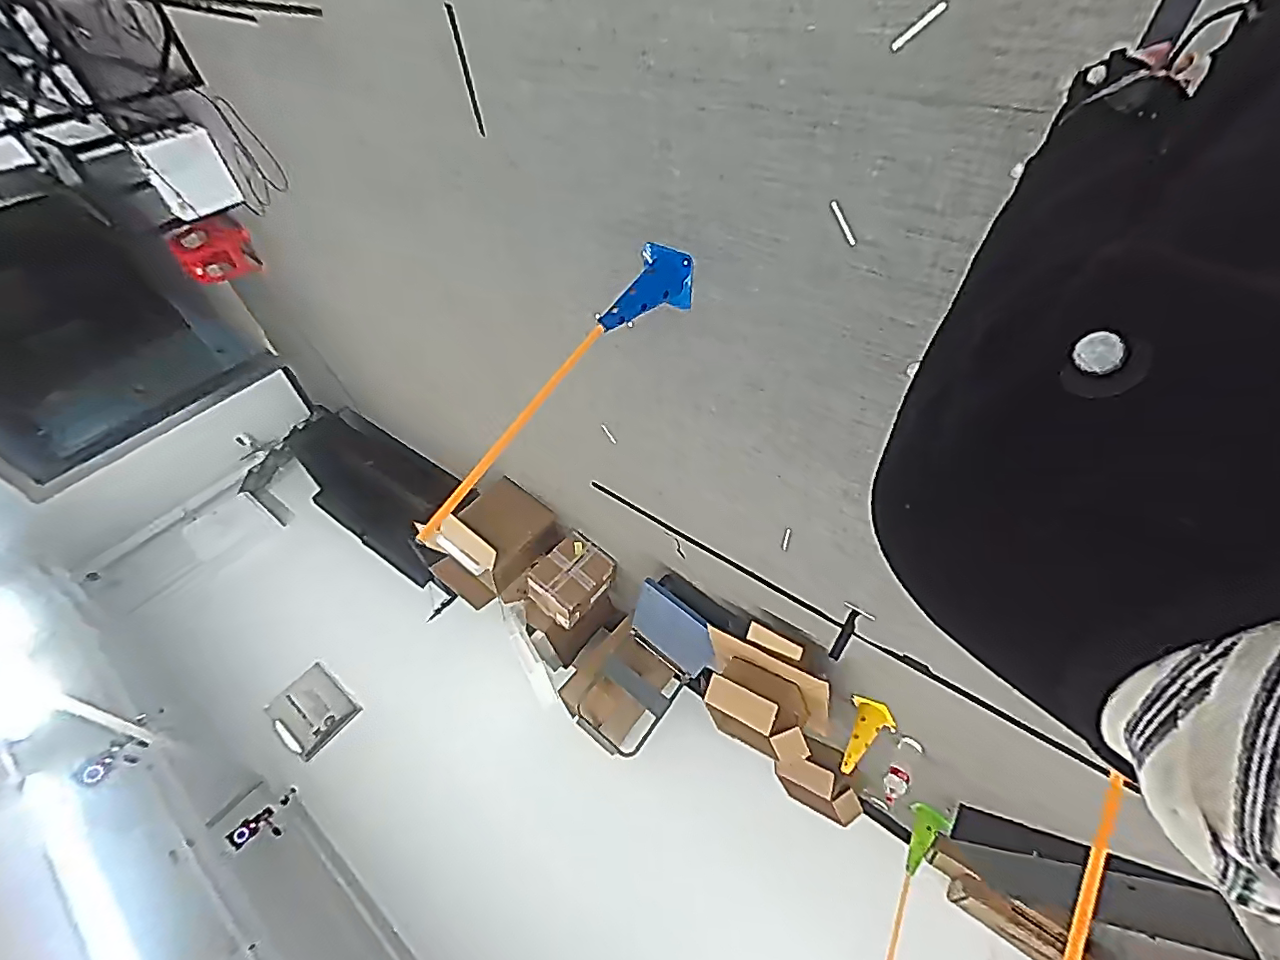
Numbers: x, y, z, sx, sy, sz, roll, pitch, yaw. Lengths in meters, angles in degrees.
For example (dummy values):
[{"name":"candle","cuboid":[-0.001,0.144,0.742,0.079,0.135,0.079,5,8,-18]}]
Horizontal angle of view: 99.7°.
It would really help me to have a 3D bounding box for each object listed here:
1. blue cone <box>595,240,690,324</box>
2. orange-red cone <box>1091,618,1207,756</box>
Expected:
[{"name":"blue cone","cuboid":[-0.011,-0.601,1.750,0.193,0.380,0.192,31,148,23]},{"name":"orange-red cone","cuboid":[1.370,0.599,1.495,0.198,0.360,0.199,31,149,24]}]
